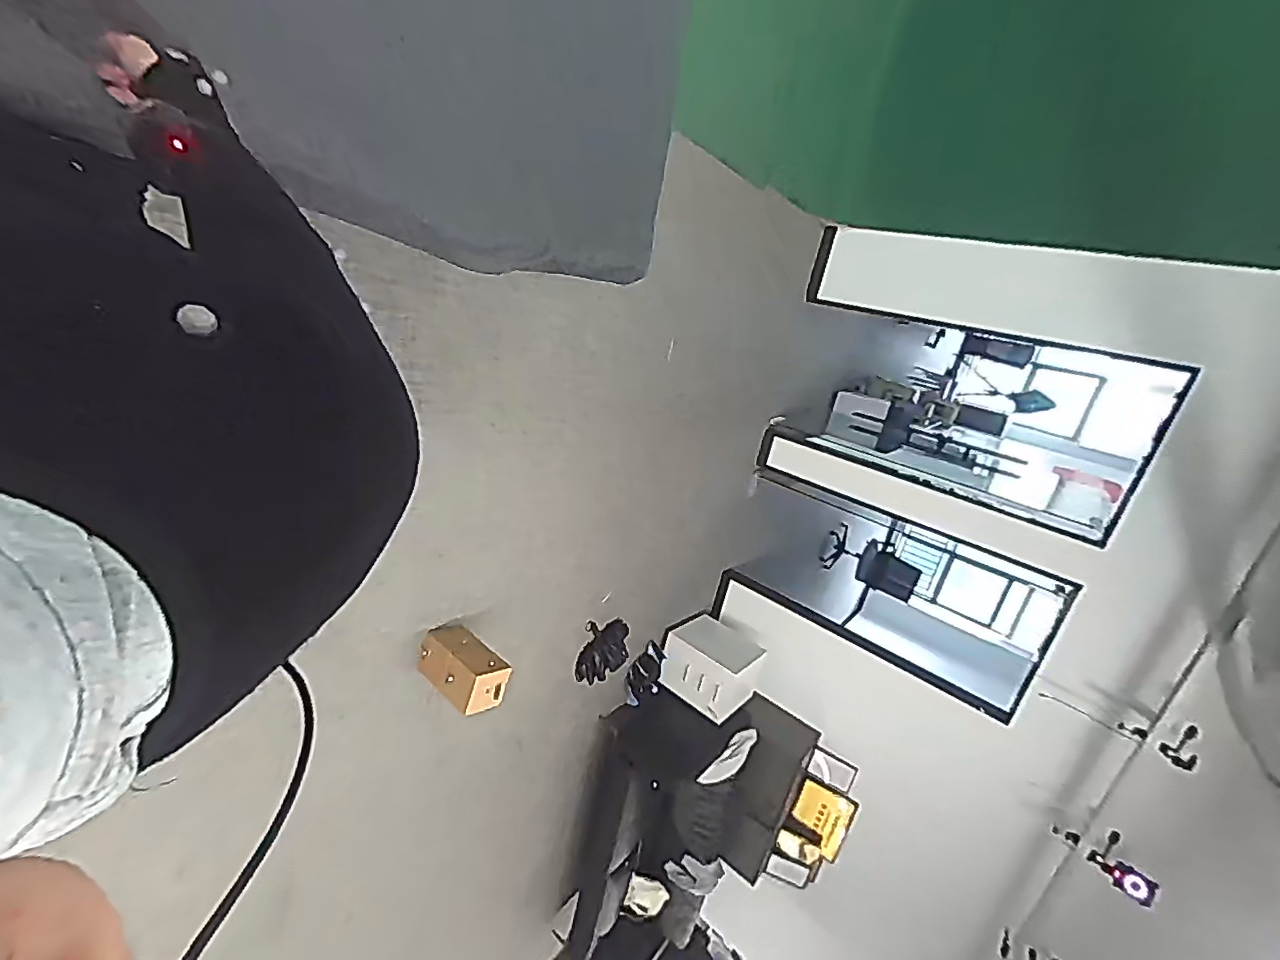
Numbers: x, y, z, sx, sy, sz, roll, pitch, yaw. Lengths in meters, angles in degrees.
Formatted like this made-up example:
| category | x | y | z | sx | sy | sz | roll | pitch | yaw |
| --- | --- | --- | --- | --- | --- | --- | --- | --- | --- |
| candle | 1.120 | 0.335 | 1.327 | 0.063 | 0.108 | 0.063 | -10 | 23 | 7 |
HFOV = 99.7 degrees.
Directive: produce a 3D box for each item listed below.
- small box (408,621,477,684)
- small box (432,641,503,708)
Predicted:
| category | x | y | z | sx | sy | sz | roll | pitch | yaw |
| --- | --- | --- | --- | --- | --- | --- | --- | --- | --- |
| small box | -0.797 | 0.688 | 2.181 | 0.179 | 0.176 | 0.168 | 6 | 104 | -56 |
| small box | -0.669 | 0.746 | 2.095 | 0.179 | 0.176 | 0.168 | 8 | 102 | -57 |
